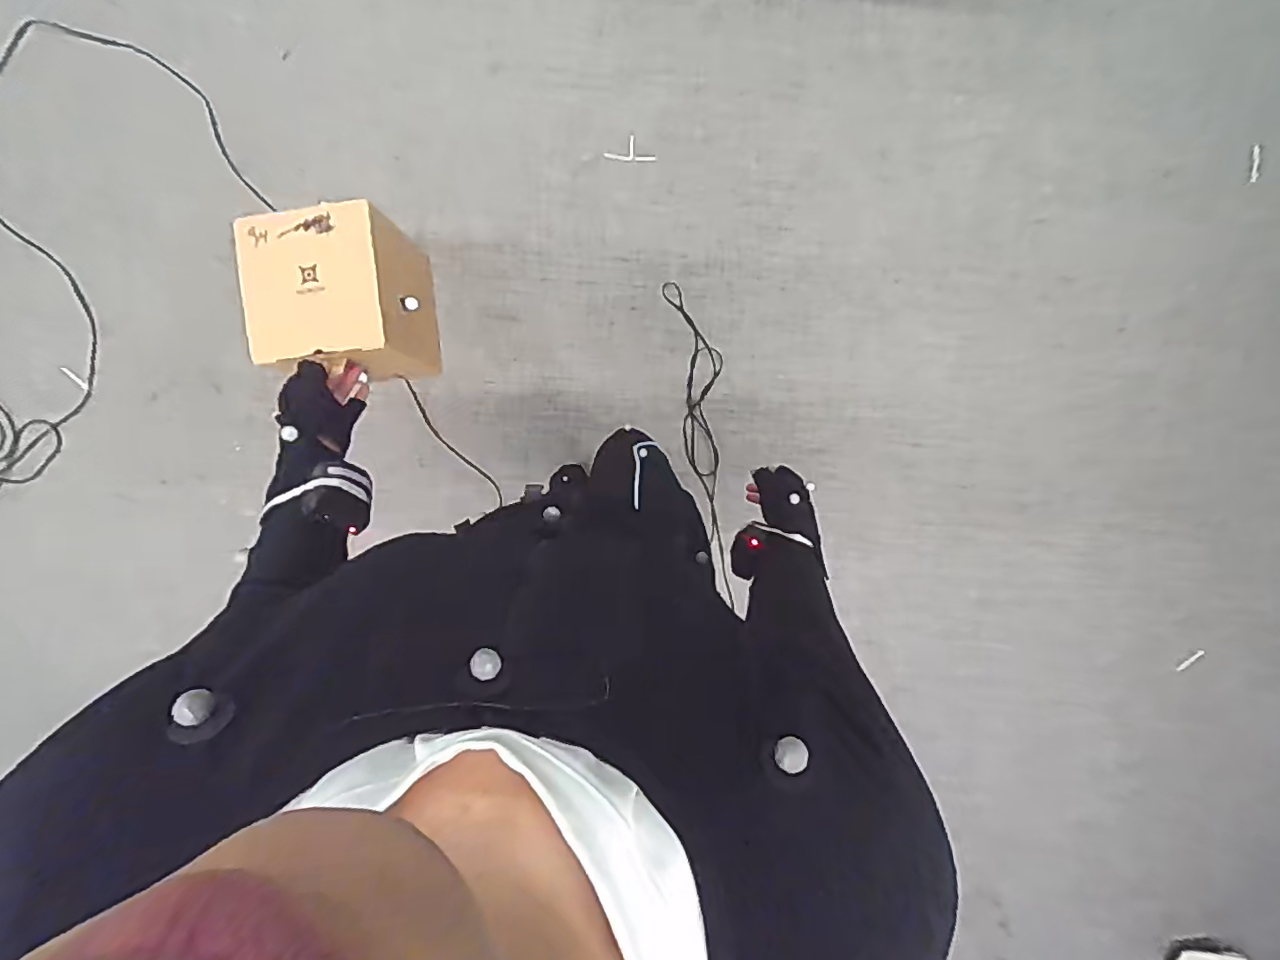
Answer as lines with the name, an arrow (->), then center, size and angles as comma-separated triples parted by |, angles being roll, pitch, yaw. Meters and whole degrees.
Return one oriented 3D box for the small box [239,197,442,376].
small box -> -0.376, -0.238, 0.711 | 0.168, 0.176, 0.179 | -6, 91, 2
